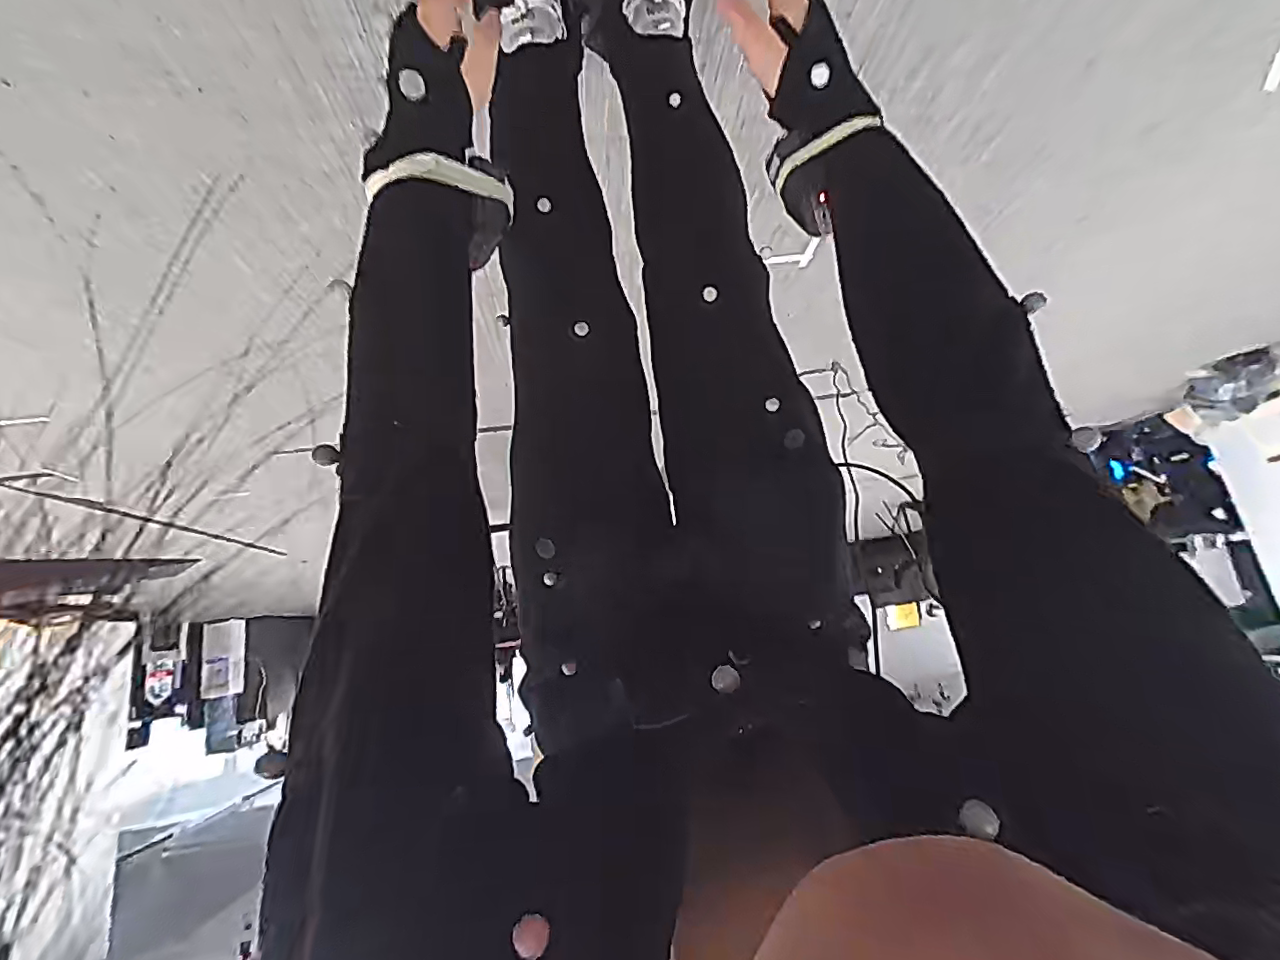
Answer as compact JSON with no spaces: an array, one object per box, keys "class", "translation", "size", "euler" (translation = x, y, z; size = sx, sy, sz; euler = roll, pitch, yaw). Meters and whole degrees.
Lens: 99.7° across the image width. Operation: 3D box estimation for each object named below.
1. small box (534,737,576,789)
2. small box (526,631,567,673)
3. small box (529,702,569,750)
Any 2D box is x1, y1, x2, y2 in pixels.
[{"class":"small box","translation":[-0.393,1.301,2.497],"size":[0.179,0.176,0.168],"euler":[-8,165,-5]},{"class":"small box","translation":[-0.451,0.828,2.612],"size":[0.179,0.176,0.168],"euler":[-8,166,-6]},{"class":"small box","translation":[-0.422,1.143,2.527],"size":[0.168,0.176,0.179],"euler":[-7,165,-6]}]
